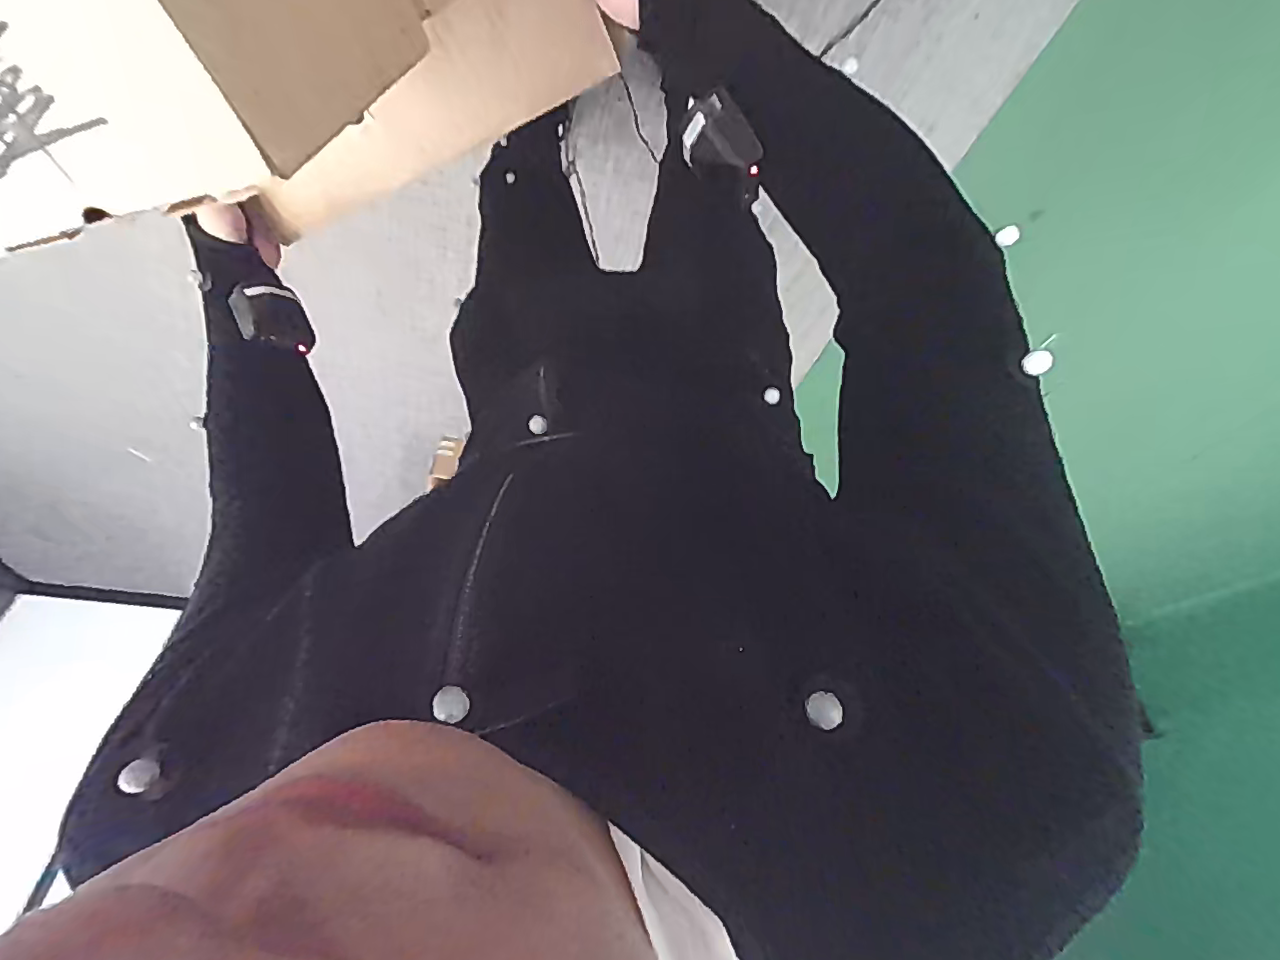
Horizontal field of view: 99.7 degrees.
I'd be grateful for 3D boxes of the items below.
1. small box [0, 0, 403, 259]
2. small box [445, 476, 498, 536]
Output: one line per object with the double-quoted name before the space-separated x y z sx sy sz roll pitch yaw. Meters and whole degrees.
"small box" -0.219 -0.208 0.188 0.168 0.176 0.179 -6 139 13
"small box" -0.676 0.104 2.175 0.179 0.176 0.168 8 142 -11
